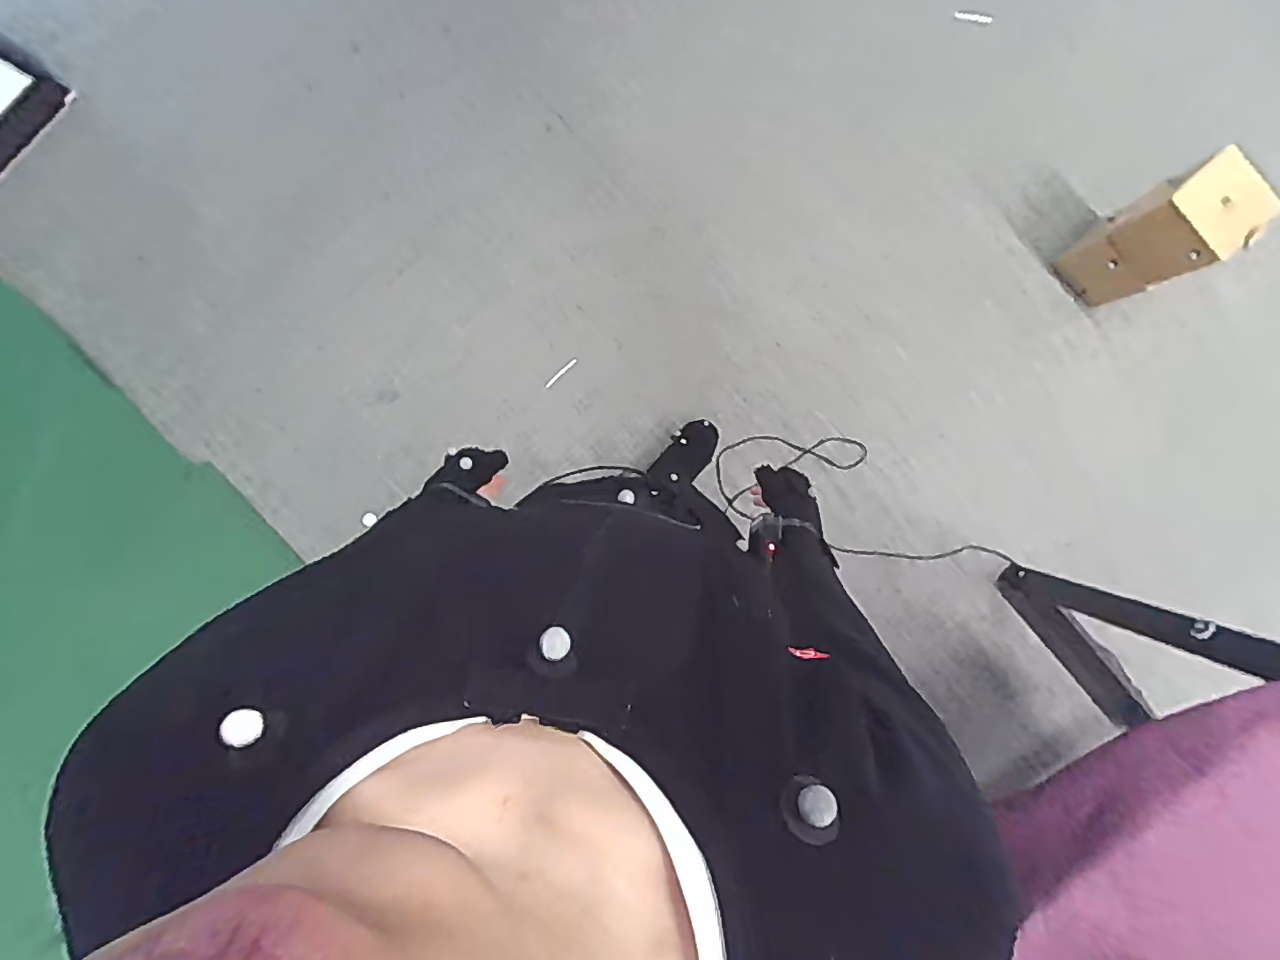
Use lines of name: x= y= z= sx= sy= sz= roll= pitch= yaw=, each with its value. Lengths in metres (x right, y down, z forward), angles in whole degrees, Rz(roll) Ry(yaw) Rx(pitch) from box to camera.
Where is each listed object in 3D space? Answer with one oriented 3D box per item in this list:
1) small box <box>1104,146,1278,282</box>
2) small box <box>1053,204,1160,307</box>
small box: x=1.193 y=-0.570 z=1.187 sx=0.168 sy=0.176 sz=0.179 roll=-43 pitch=92 yaw=2
small box: x=1.201 y=-0.566 z=1.351 sx=0.179 sy=0.176 sz=0.168 roll=-43 pitch=91 yaw=2
